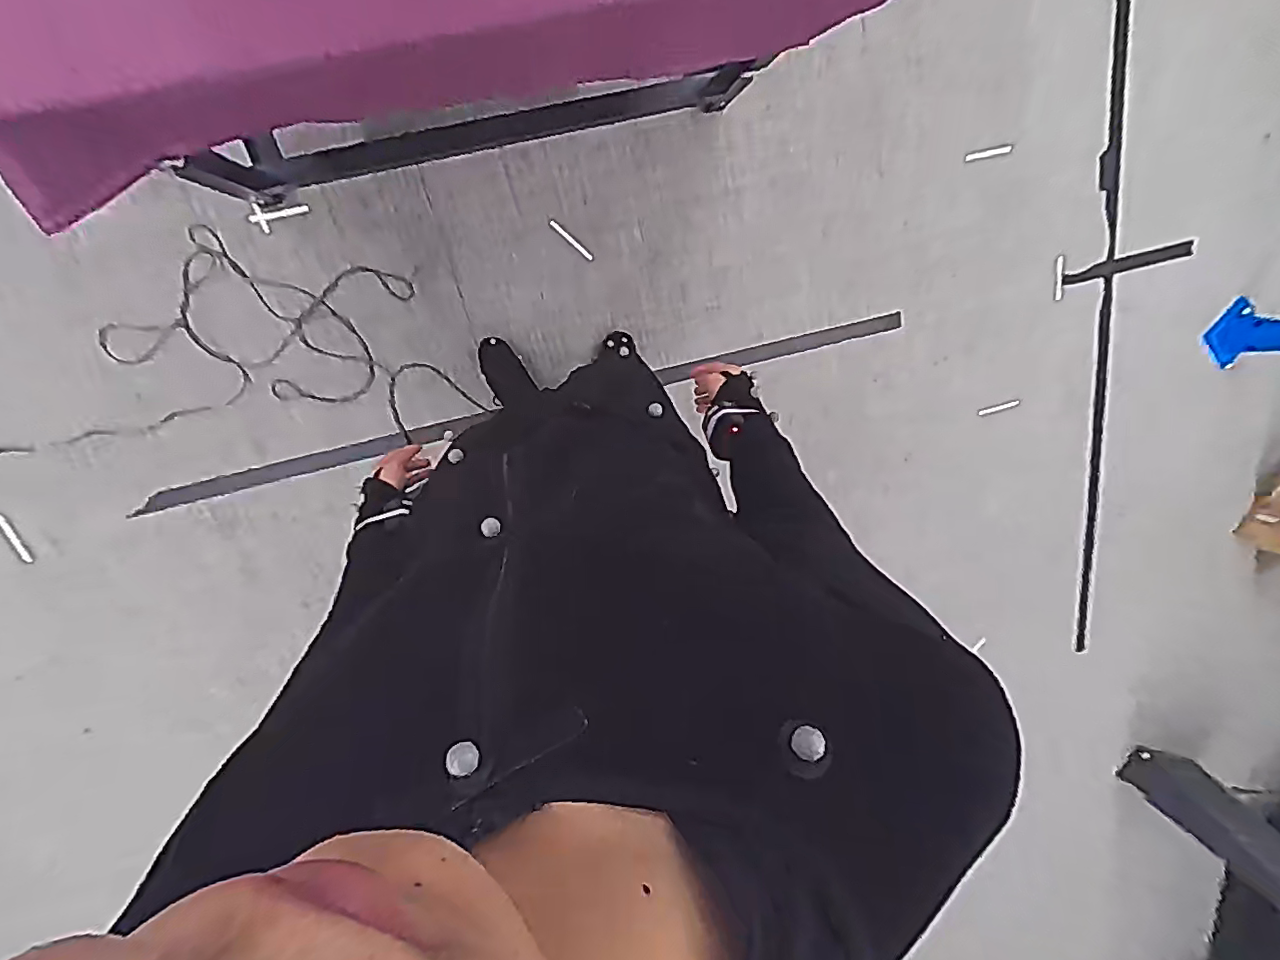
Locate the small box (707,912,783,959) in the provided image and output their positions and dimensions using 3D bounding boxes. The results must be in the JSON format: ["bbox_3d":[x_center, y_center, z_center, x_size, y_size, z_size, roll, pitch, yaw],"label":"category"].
[{"bbox_3d":[0.295,1.328,1.470,0.179,0.176,0.168,-12,109,-8],"label":"small box"}]
